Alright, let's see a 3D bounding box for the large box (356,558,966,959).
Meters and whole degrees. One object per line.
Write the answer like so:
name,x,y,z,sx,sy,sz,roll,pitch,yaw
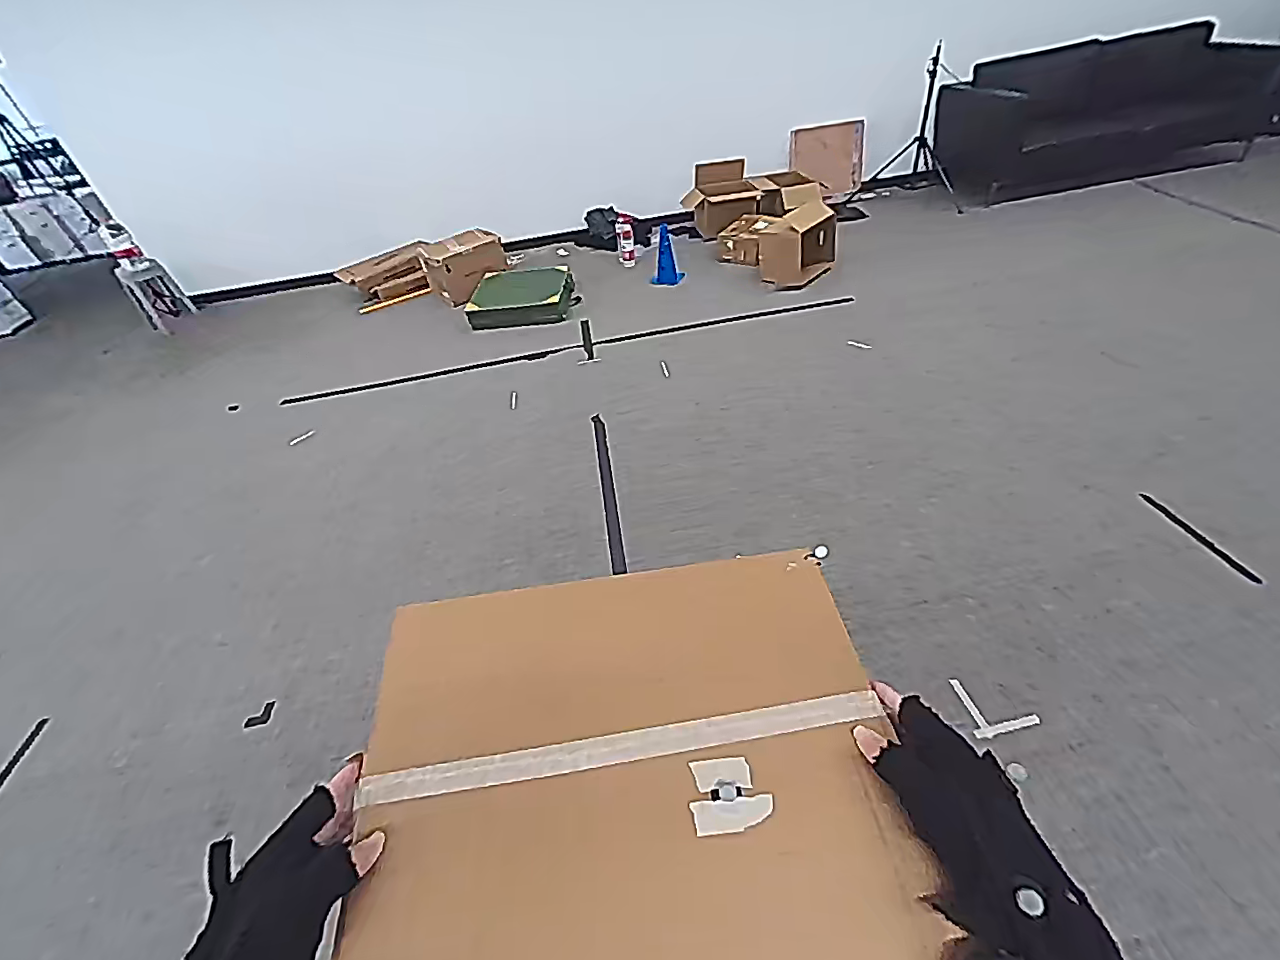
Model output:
large box,0.001,0.318,0.542,0.408,0.320,0.320,-8,48,-4
